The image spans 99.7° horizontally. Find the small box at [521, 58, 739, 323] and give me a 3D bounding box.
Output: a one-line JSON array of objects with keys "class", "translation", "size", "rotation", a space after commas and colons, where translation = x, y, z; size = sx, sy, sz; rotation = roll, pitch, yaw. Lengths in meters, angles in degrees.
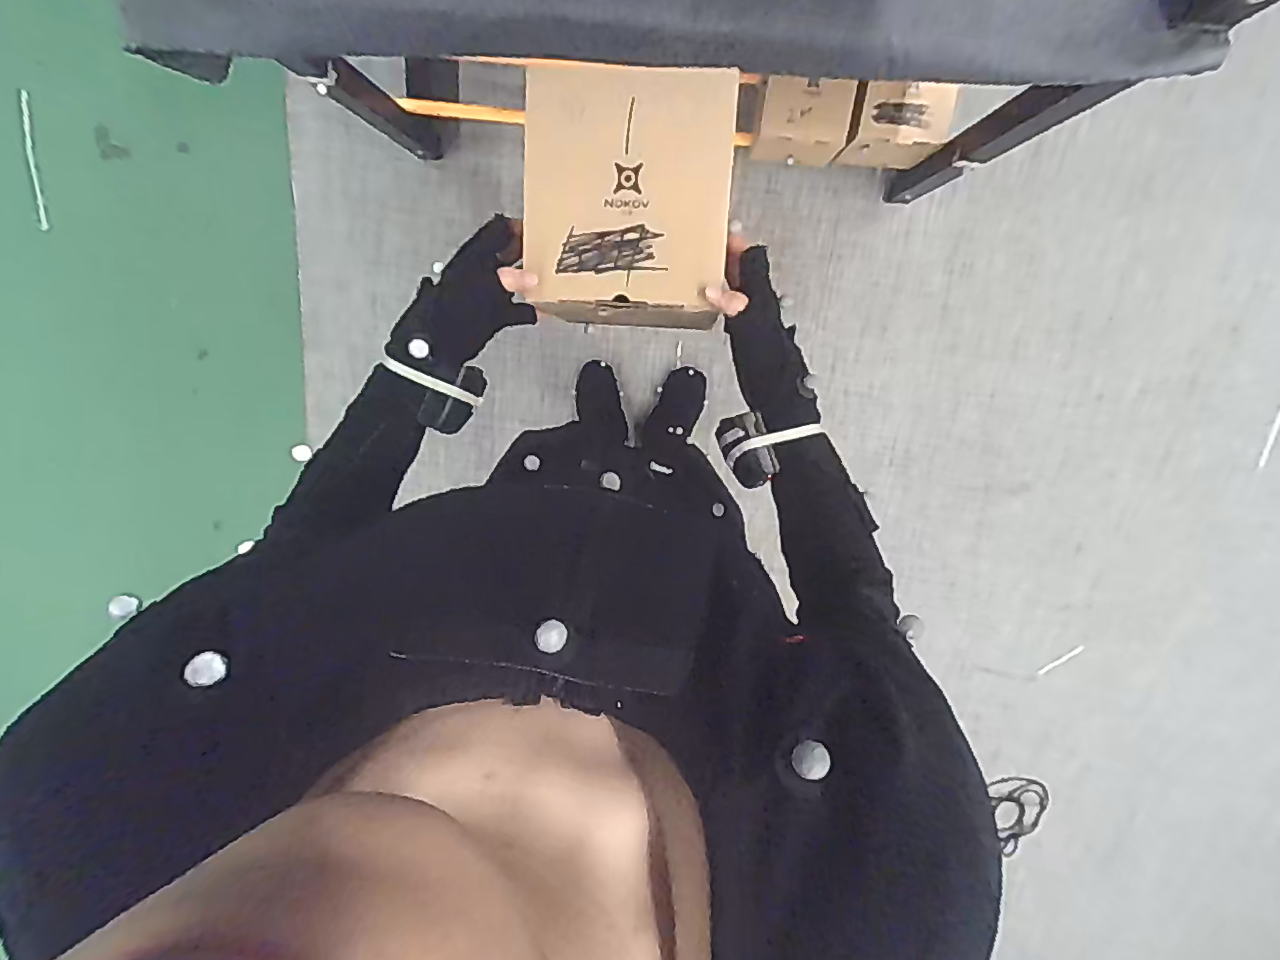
[{"class": "small box", "translation": [-0.004, -0.245, 0.501], "size": [0.168, 0.176, 0.179], "rotation": [4, 99, 4]}]
